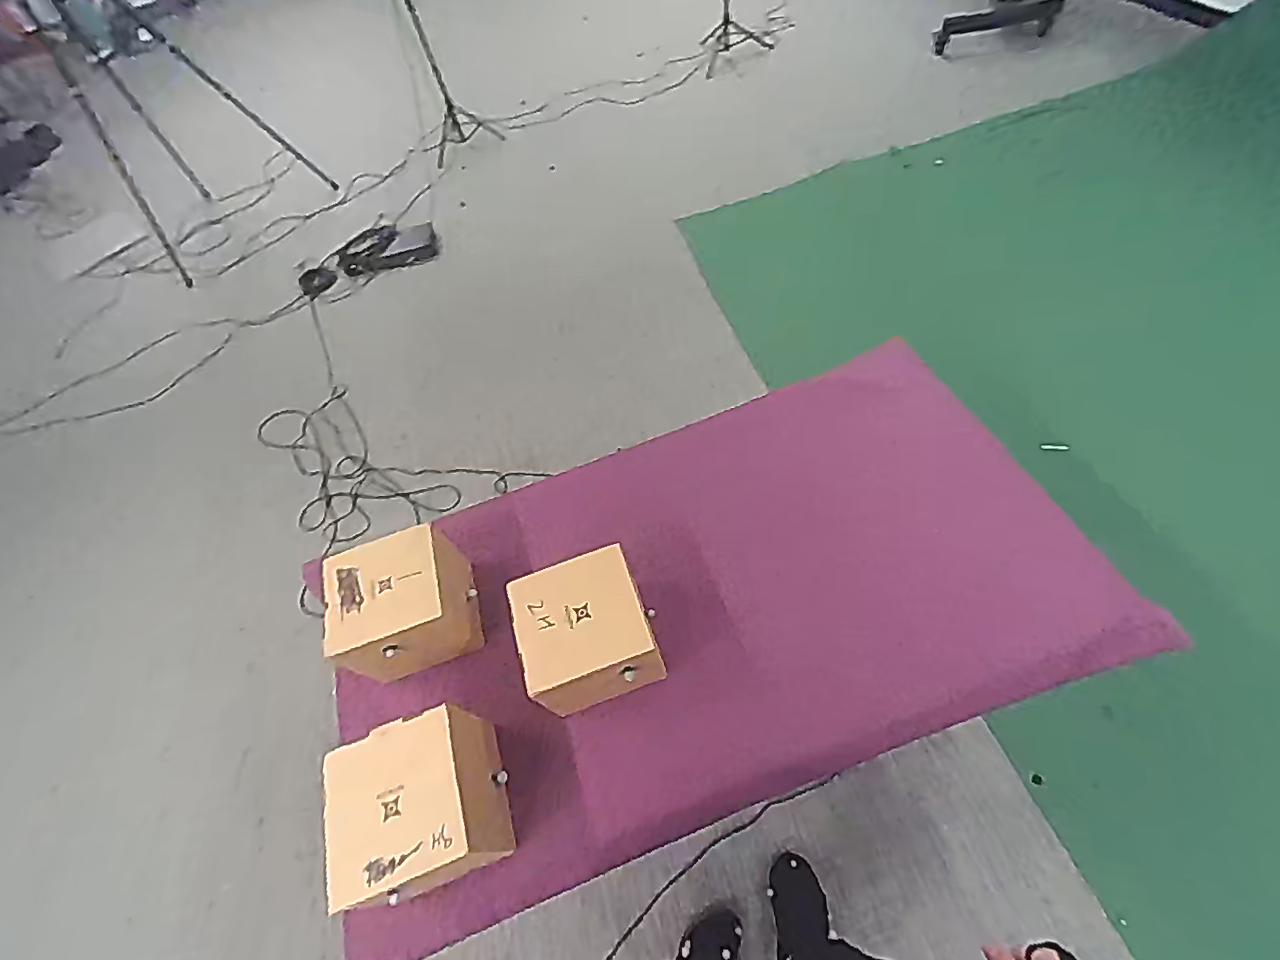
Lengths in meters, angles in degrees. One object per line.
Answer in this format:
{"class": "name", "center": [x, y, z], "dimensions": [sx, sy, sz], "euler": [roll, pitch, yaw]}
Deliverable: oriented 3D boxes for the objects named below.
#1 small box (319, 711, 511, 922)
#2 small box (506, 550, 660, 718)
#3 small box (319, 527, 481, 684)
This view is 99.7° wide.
{"class": "small box", "center": [-0.285, 0.432, 0.704], "dimensions": [0.168, 0.176, 0.179], "euler": [-22, 56, -3]}
{"class": "small box", "center": [-0.075, 0.231, 0.796], "dimensions": [0.179, 0.176, 0.168], "euler": [-19, 57, -3]}
{"class": "small box", "center": [-0.377, 0.206, 0.863], "dimensions": [0.179, 0.176, 0.168], "euler": [-19, 58, -4]}
